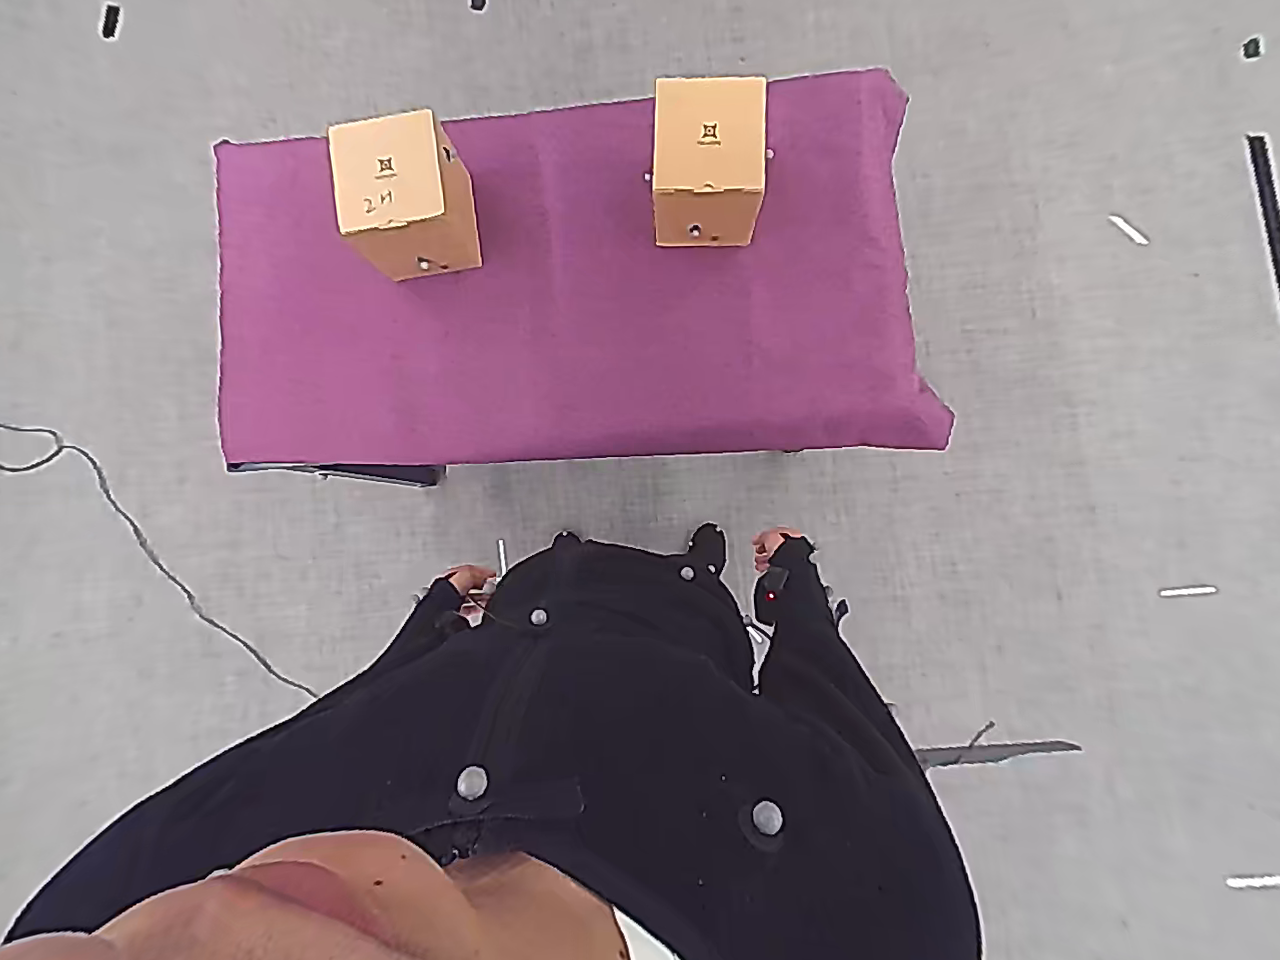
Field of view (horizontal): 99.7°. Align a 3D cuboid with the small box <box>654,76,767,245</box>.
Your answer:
[{"bbox_3d":[0.107,-0.507,0.875,0.168,0.176,0.179,1,87,3],"label":"small box"}]

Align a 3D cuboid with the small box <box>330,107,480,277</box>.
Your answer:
[{"bbox_3d":[-0.378,-0.464,0.893,0.168,0.176,0.179,-8,86,2],"label":"small box"}]
